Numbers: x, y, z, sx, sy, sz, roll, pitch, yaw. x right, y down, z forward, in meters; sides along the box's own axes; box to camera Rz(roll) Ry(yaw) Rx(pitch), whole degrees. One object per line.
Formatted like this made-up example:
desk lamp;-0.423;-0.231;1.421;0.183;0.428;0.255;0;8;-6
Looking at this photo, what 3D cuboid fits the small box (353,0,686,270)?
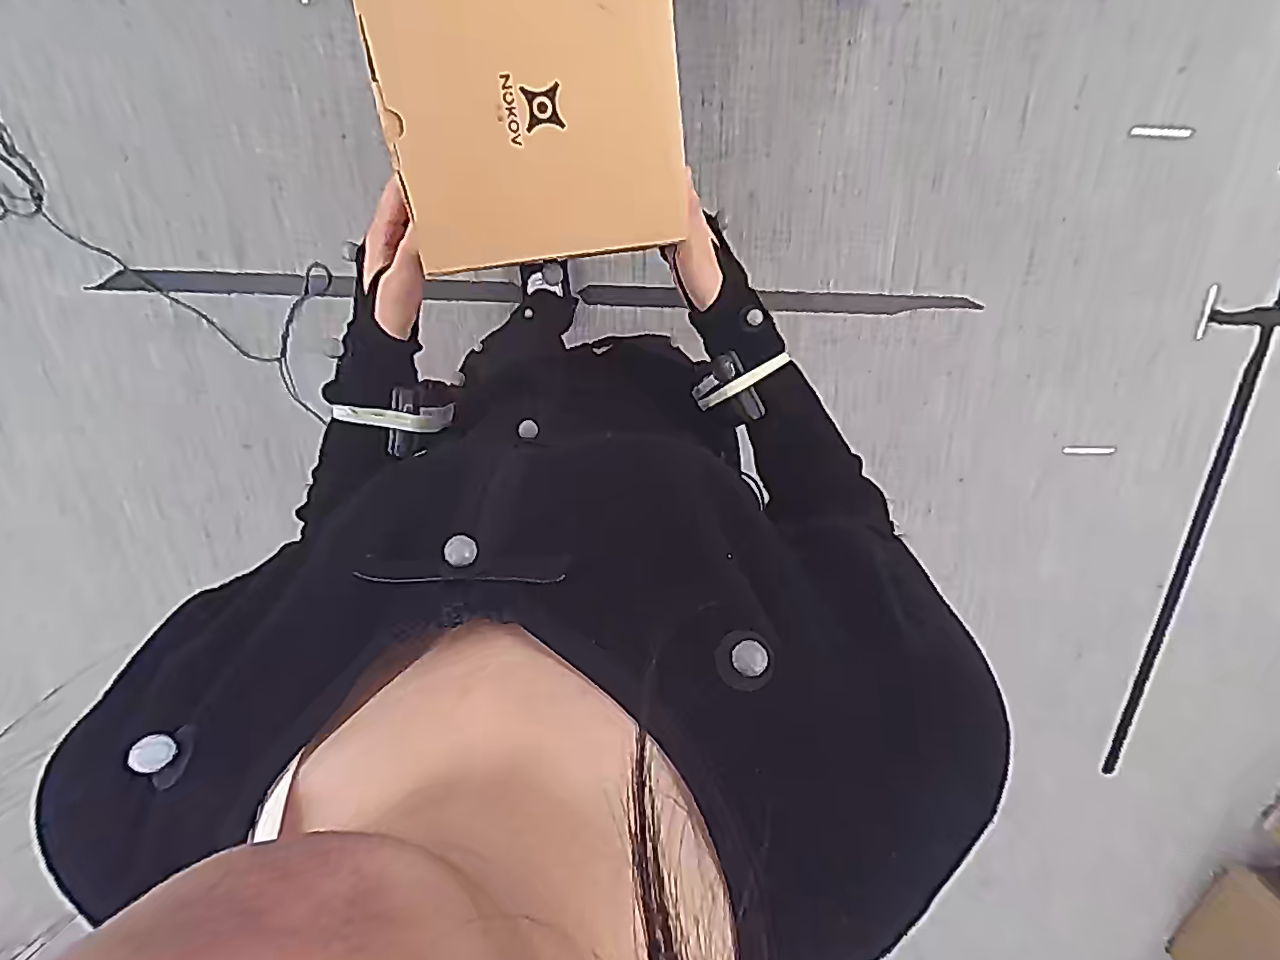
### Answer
small box;-0.072;-0.254;0.393;0.179;0.176;0.168;-8;114;-2
